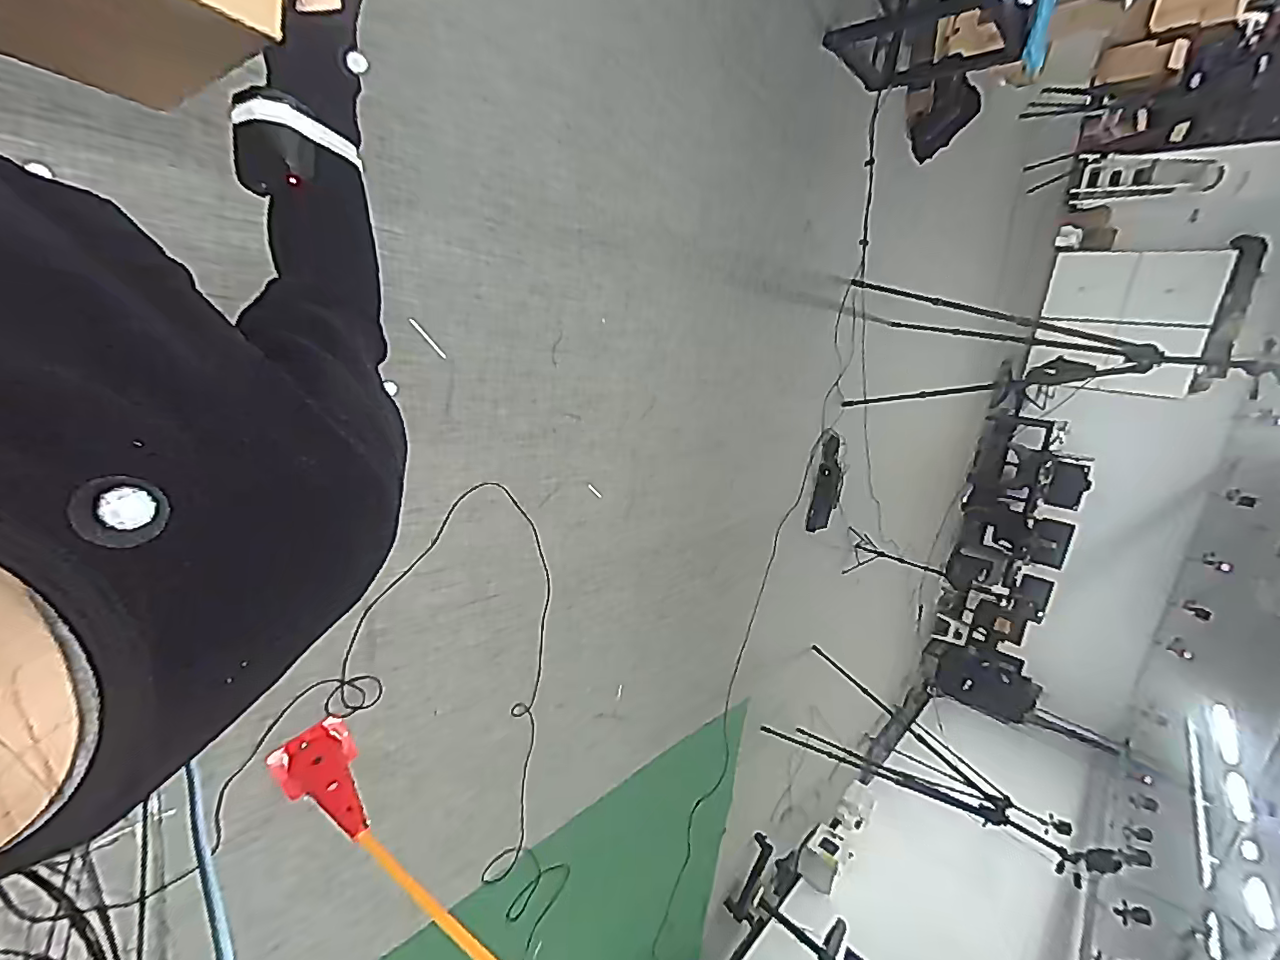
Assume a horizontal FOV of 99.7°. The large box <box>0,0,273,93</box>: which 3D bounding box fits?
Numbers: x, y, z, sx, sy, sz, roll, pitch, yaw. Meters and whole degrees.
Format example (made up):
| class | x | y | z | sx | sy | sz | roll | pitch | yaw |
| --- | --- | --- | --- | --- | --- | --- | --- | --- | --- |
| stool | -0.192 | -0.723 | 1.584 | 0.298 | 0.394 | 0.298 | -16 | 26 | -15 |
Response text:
| class | x | y | z | sx | sy | sz | roll | pitch | yaw |
| --- | --- | --- | --- | --- | --- | --- | --- | --- | --- |
| large box | -0.492 | -0.499 | 0.307 | 0.408 | 0.320 | 0.320 | -7 | 109 | -51 |
